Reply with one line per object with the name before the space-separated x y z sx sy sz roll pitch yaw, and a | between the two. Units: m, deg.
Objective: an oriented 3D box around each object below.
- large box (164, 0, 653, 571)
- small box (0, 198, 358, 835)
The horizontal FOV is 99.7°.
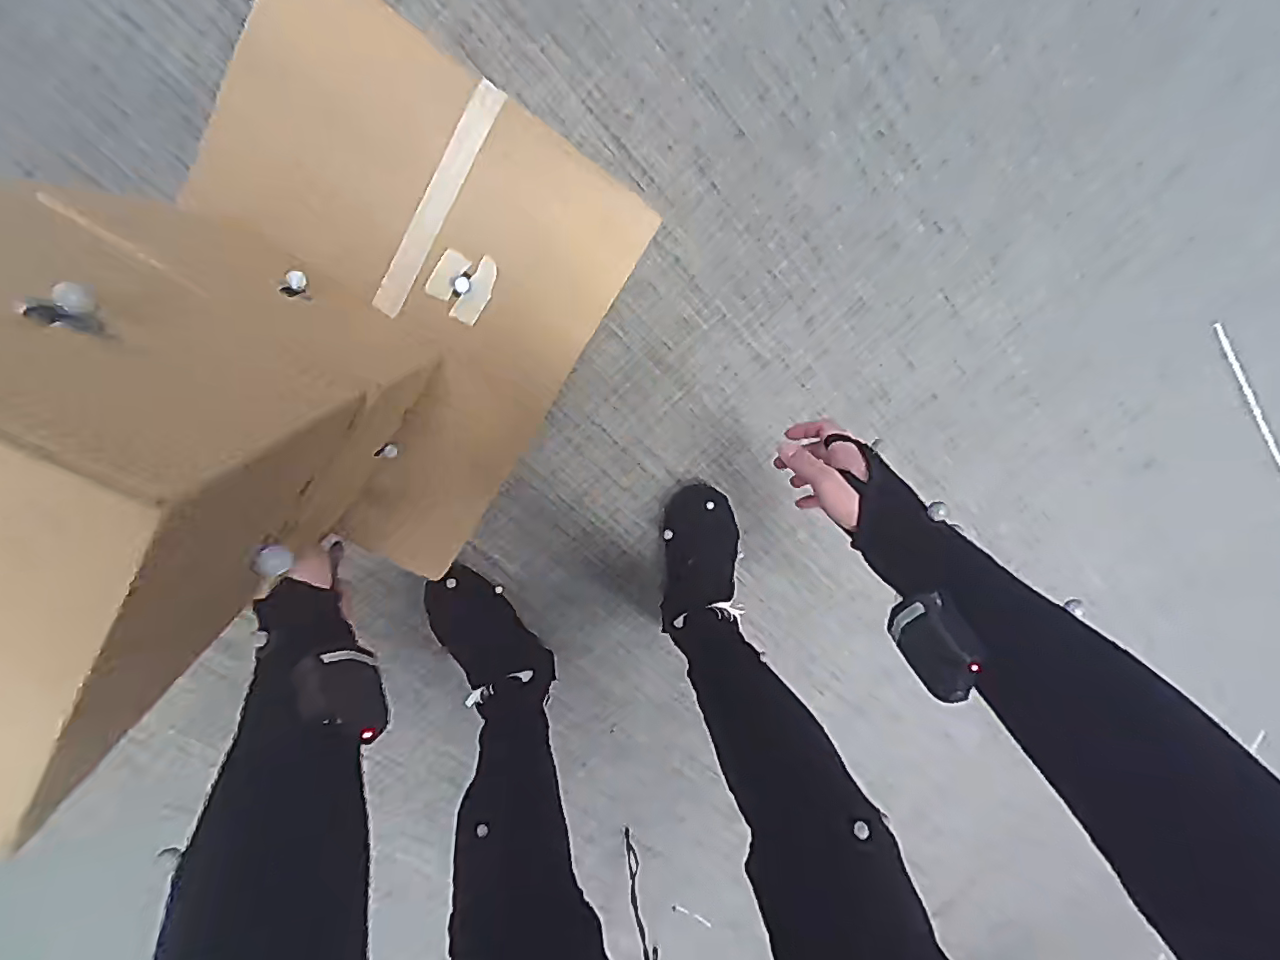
large box | -0.237 -0.187 0.597 0.320 0.320 0.408 31 103 -18
small box | -0.260 -0.004 0.223 0.179 0.176 0.168 33 104 -18
